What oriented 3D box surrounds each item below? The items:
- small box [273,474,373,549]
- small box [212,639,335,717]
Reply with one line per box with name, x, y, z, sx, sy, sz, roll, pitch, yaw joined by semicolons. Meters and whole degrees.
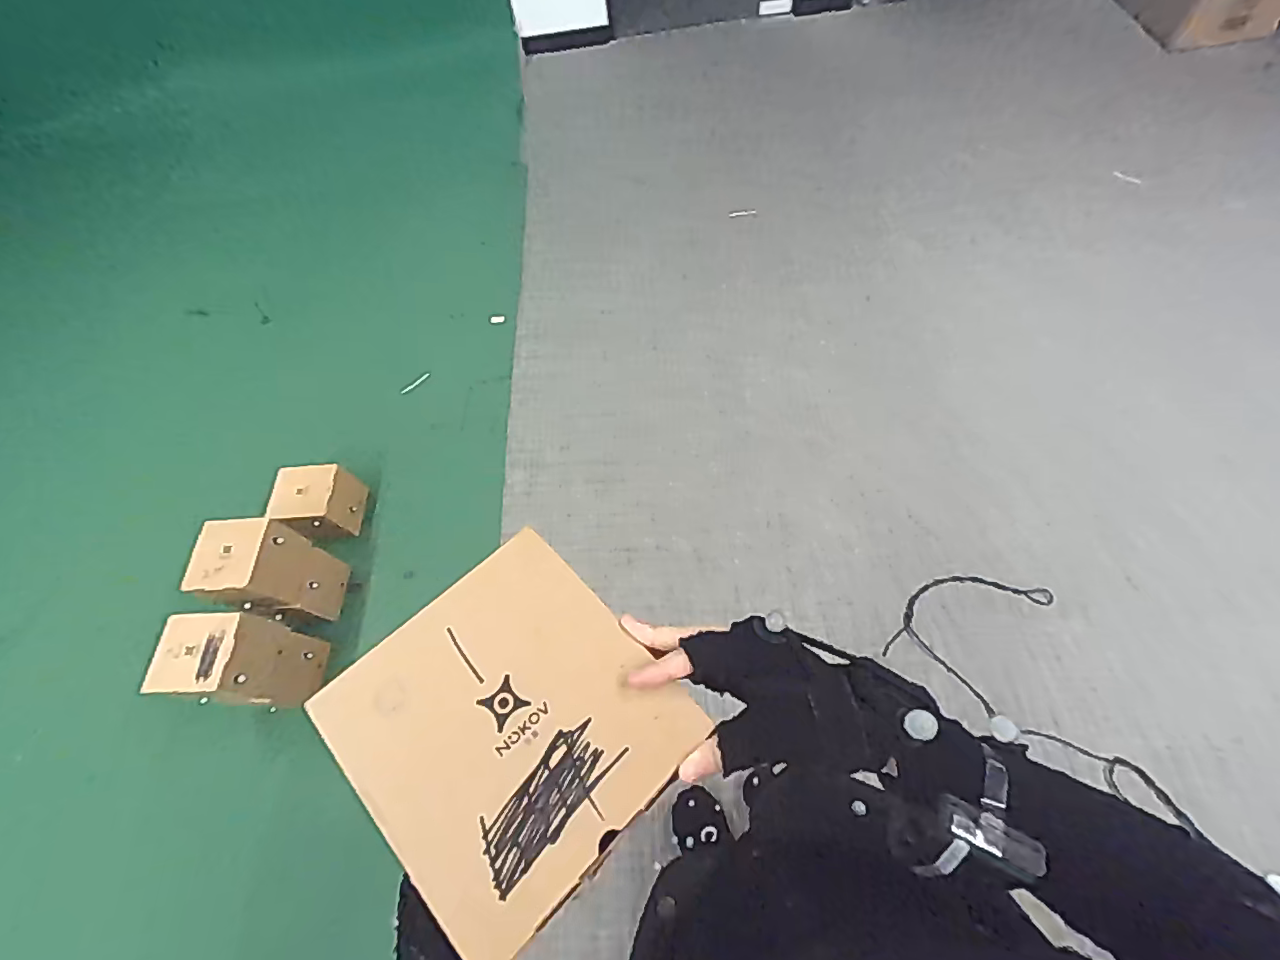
small box;-0.933;0.099;1.605;0.179;0.176;0.168;-5;61;3
small box;-0.924;0.509;1.385;0.179;0.176;0.168;-1;62;6
